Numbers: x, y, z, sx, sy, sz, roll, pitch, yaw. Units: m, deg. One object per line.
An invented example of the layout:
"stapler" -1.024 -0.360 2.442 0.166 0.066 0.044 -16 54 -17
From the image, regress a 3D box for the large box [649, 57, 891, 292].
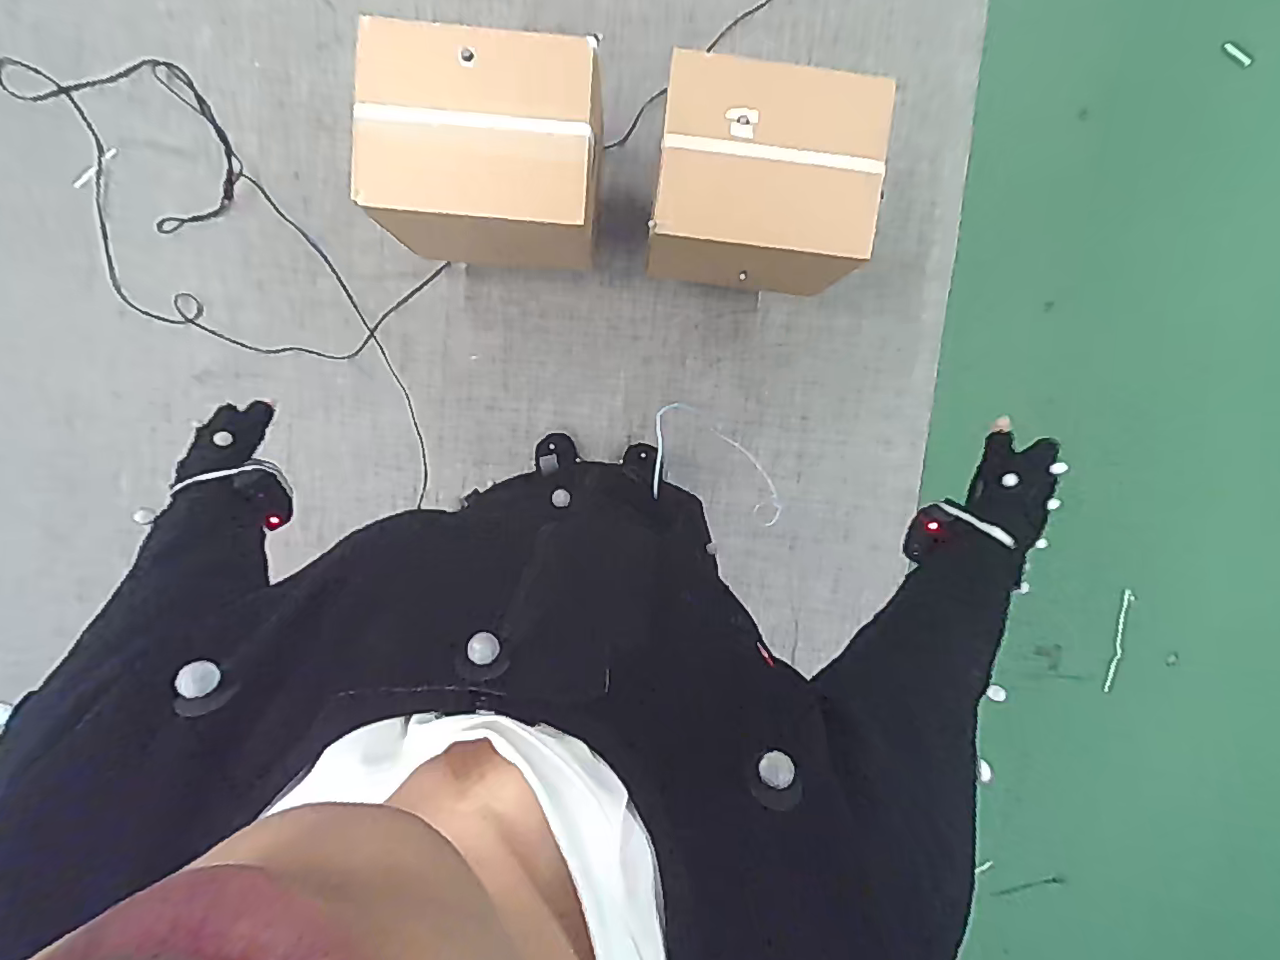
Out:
"large box" 0.239 -0.599 1.129 0.408 0.320 0.320 7 96 -2
